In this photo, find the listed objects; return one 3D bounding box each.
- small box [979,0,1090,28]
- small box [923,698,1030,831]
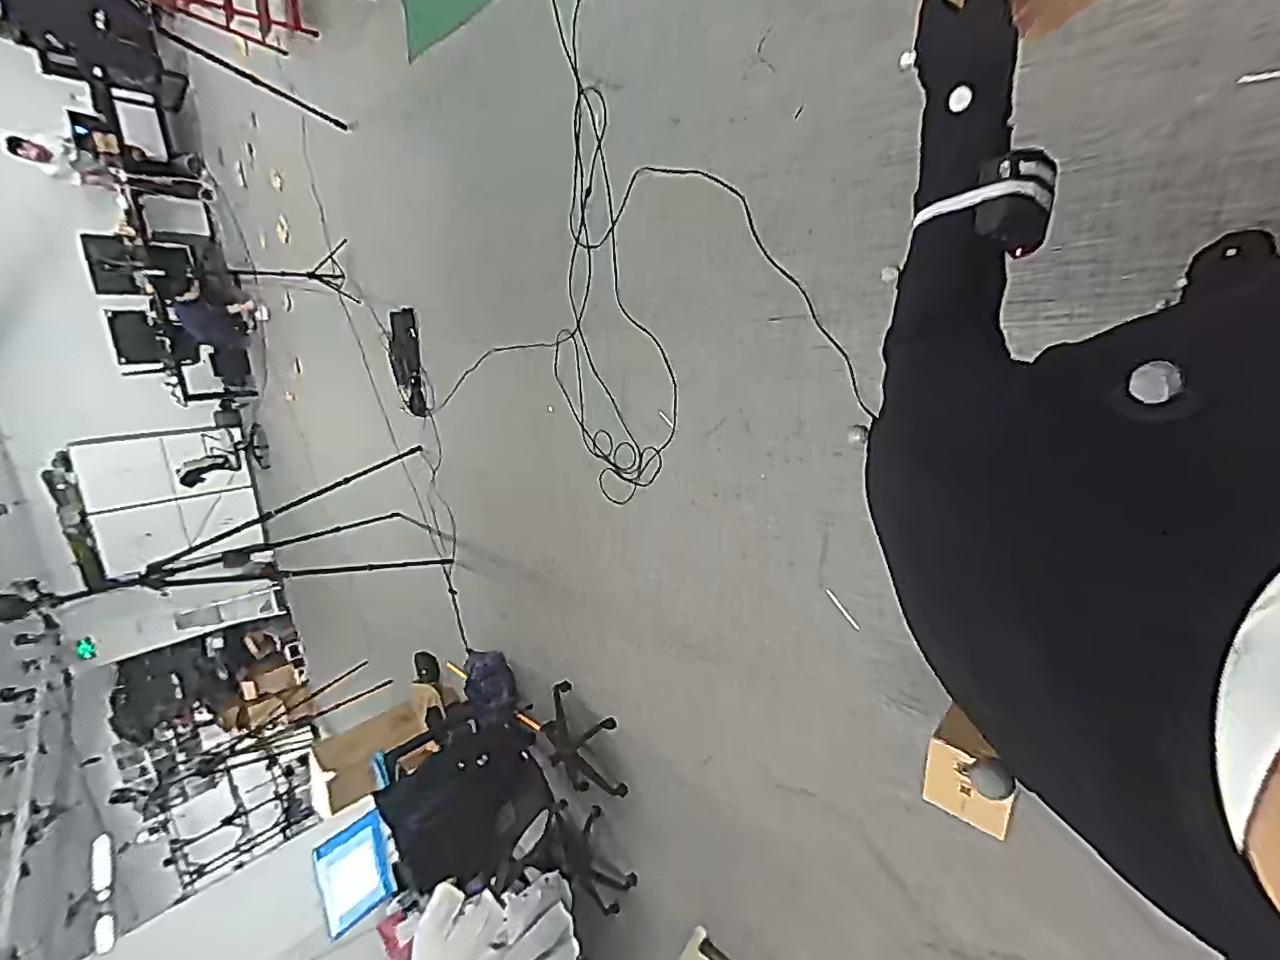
[{"bbox_3d":[0.349,-0.519,0.439,0.168,0.176,0.179,31,127,4],"label":"small box"},{"bbox_3d":[0.778,0.643,1.248,0.168,0.176,0.179,14,113,42],"label":"small box"}]
